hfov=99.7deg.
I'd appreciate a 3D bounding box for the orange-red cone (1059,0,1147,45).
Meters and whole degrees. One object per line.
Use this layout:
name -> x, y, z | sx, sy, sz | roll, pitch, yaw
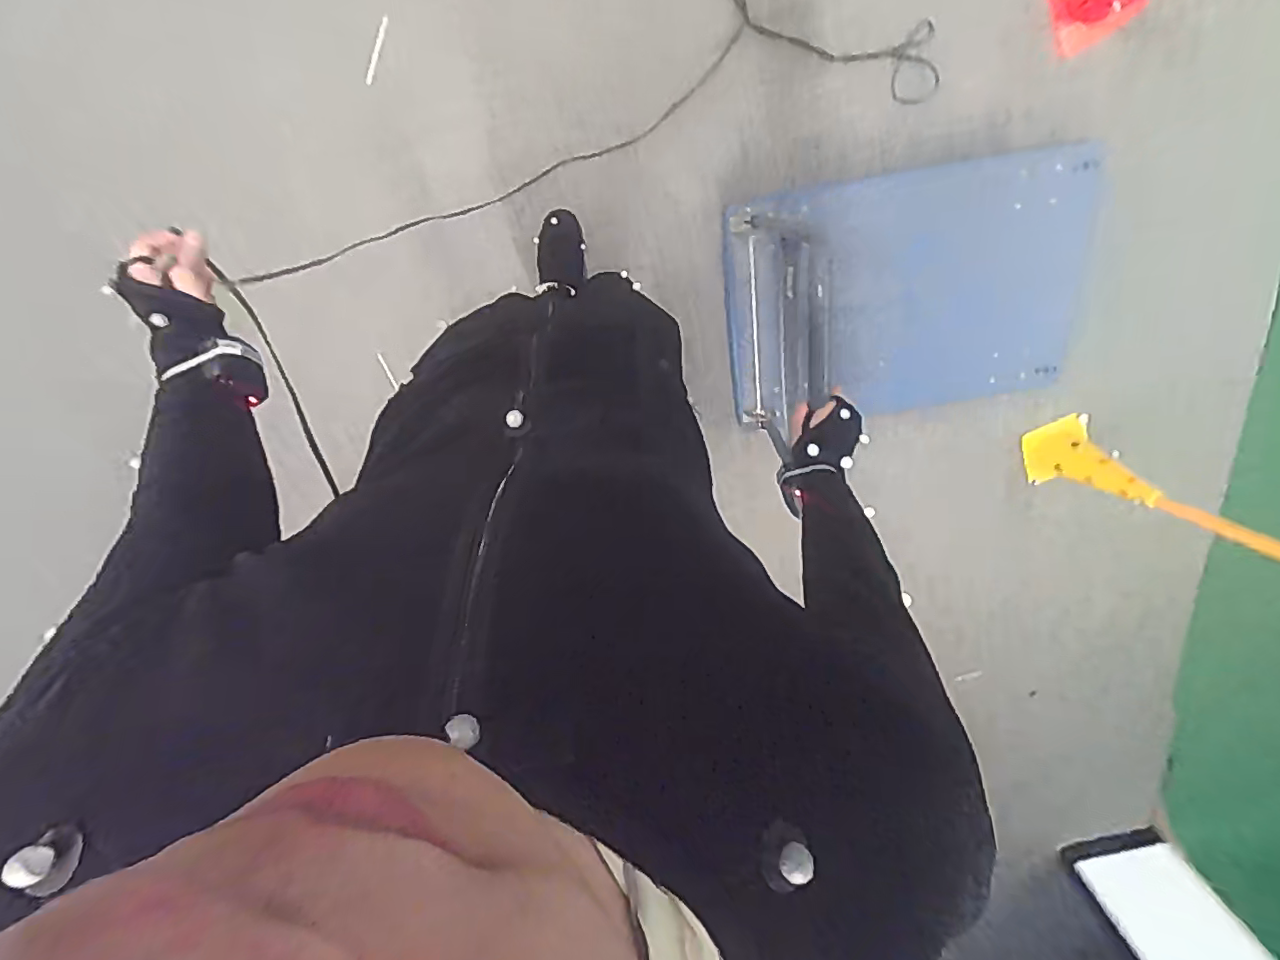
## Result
orange-red cone -> 1.043, -1.048, 1.051 | 0.198, 0.360, 0.199 | -29, 114, 10
